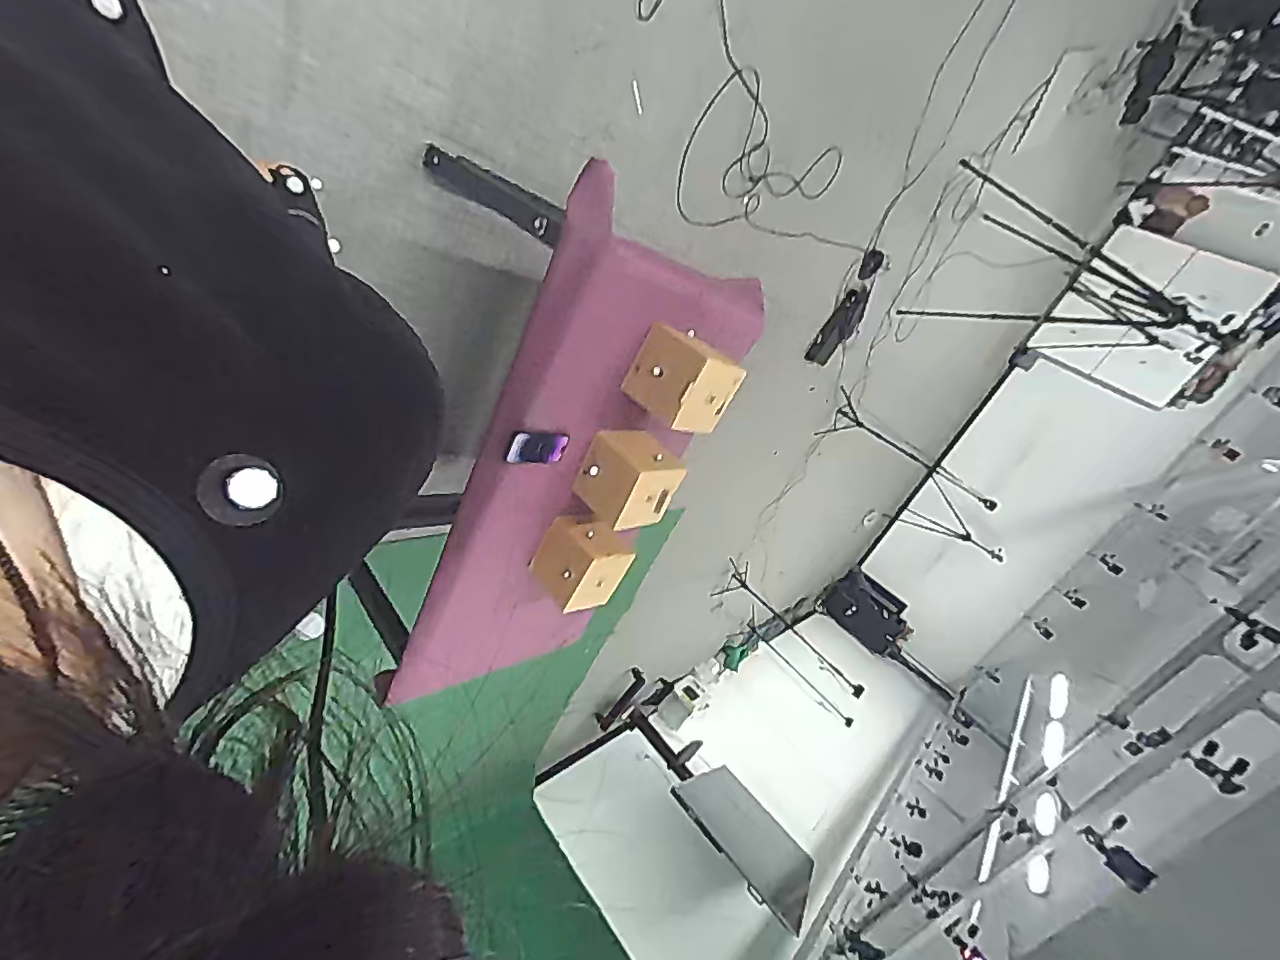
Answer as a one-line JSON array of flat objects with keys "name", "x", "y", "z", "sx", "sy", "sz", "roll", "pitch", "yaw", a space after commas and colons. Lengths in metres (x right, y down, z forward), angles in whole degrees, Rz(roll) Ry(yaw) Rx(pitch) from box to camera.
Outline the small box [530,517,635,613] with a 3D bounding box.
[{"name": "small box", "x": -0.152, "y": 0.208, "z": 1.377, "sx": 0.168, "sy": 0.176, "sz": 0.179, "roll": 5, "pitch": 122, "yaw": -54}]

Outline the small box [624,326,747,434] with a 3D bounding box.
[{"name": "small box", "x": 0.095, "y": -0.221, "z": 1.195, "sx": 0.179, "sy": 0.176, "sz": 0.168, "roll": 2, "pitch": 124, "yaw": -52}]

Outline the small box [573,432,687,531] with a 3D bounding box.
[{"name": "small box", "x": -0.027, "y": -0.002, "z": 1.291, "sx": 0.179, "sy": 0.176, "sz": 0.168, "roll": -5, "pitch": 129, "yaw": -49}]
